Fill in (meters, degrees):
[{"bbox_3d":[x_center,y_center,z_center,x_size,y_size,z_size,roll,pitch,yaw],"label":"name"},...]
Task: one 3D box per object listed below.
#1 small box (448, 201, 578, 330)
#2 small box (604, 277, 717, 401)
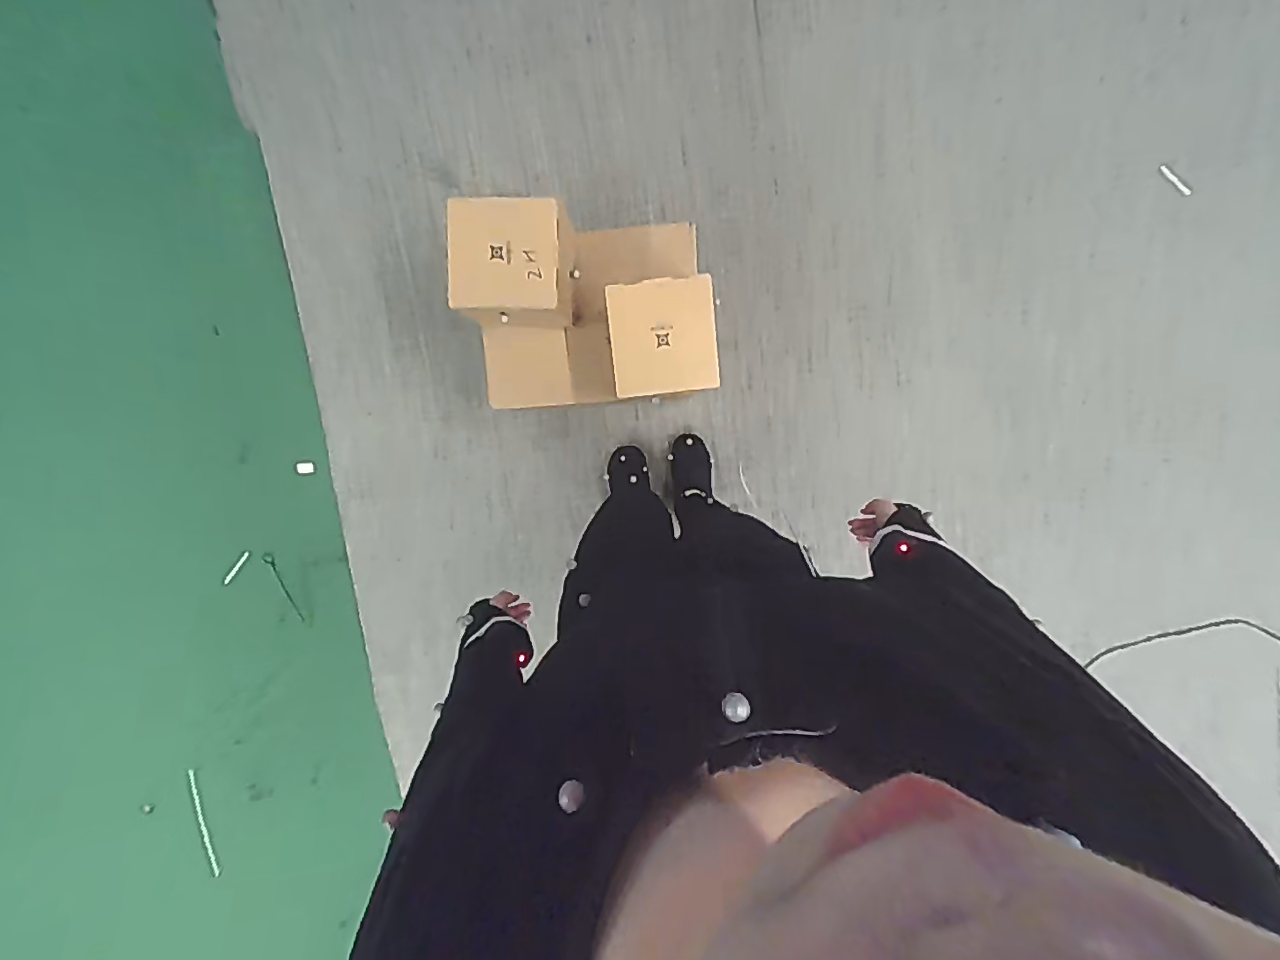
[{"bbox_3d":[-0.208,-0.354,0.918,0.179,0.176,0.168,2,96,2],"label":"small box"},{"bbox_3d":[0.038,-0.229,0.918,0.168,0.176,0.179,-6,96,3],"label":"small box"}]
